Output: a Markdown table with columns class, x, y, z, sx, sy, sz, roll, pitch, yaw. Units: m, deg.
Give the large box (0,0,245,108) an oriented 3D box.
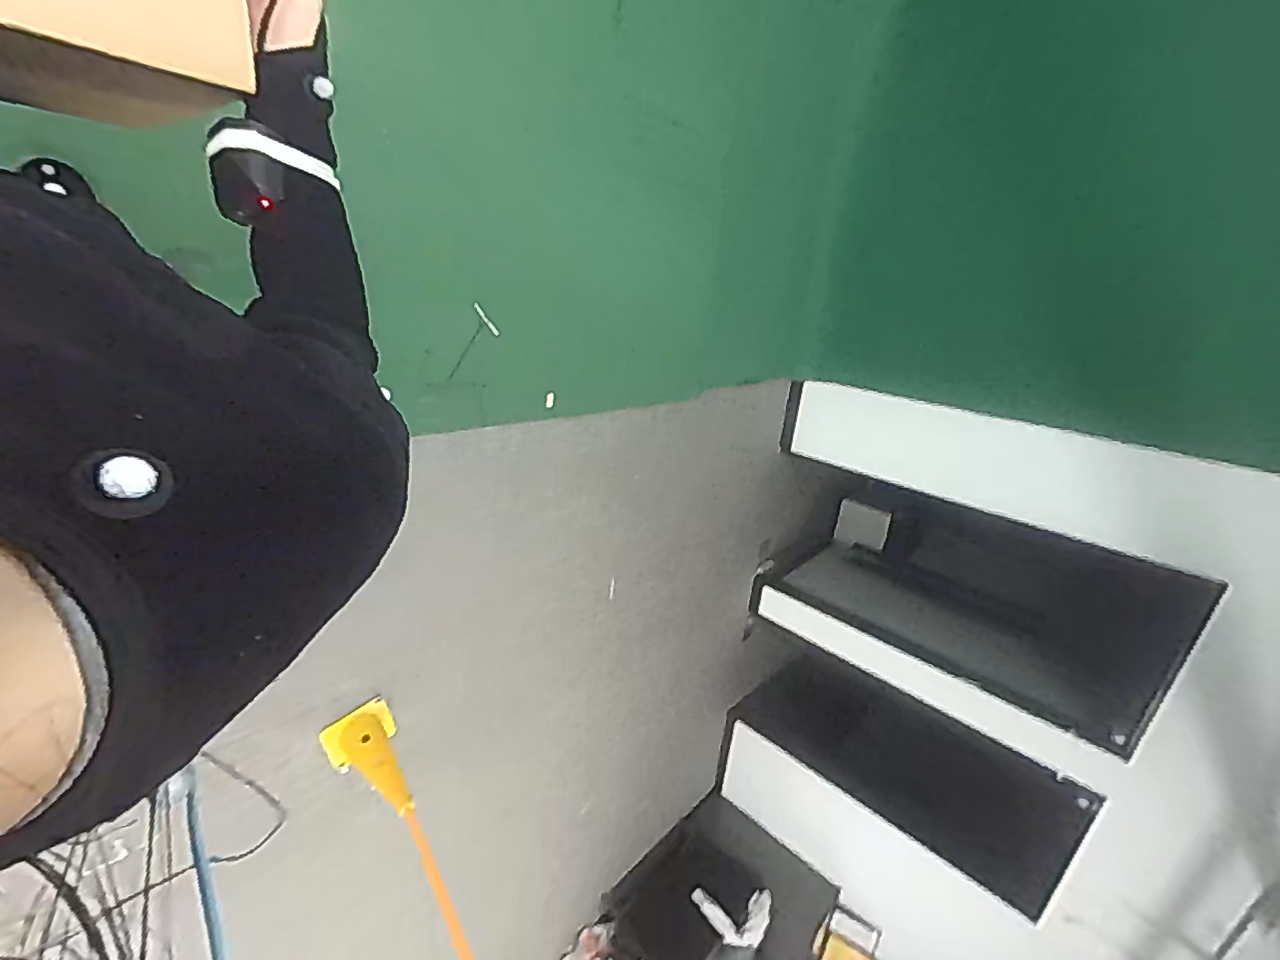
| class | x | y | z | sx | sy | sz | roll | pitch | yaw |
| --- | --- | --- | --- | --- | --- | --- | --- | --- | --- |
| large box | -0.533 | -0.455 | 0.311 | 0.408 | 0.320 | 0.320 | -18 | 121 | -48 |
